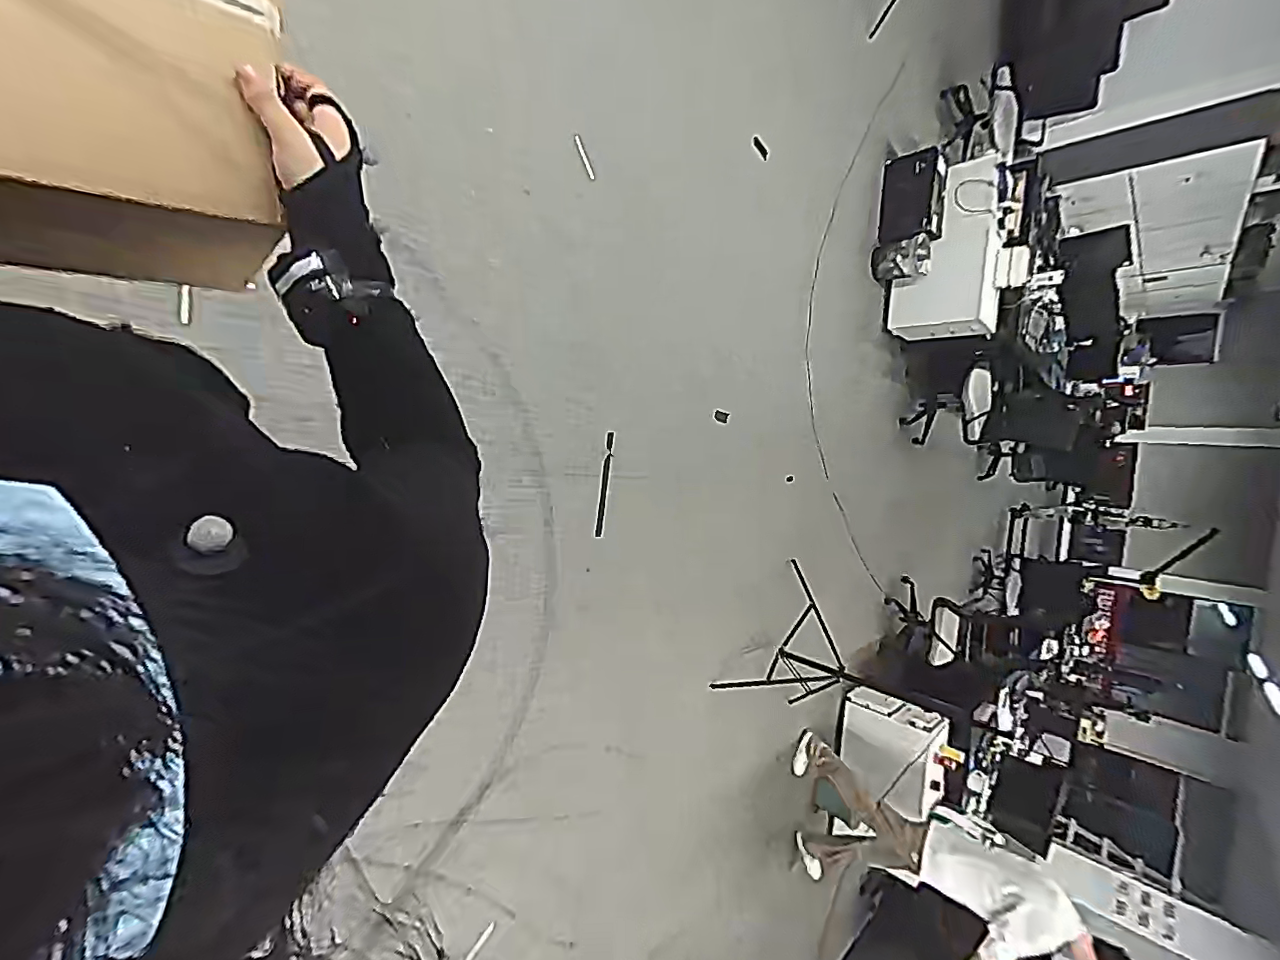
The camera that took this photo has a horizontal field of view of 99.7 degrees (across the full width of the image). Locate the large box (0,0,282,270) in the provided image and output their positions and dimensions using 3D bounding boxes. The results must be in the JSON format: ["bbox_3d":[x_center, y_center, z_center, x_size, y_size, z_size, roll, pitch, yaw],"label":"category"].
[{"bbox_3d":[-0.541,-0.366,0.404,0.408,0.320,0.320,-7,99,-41],"label":"large box"}]
